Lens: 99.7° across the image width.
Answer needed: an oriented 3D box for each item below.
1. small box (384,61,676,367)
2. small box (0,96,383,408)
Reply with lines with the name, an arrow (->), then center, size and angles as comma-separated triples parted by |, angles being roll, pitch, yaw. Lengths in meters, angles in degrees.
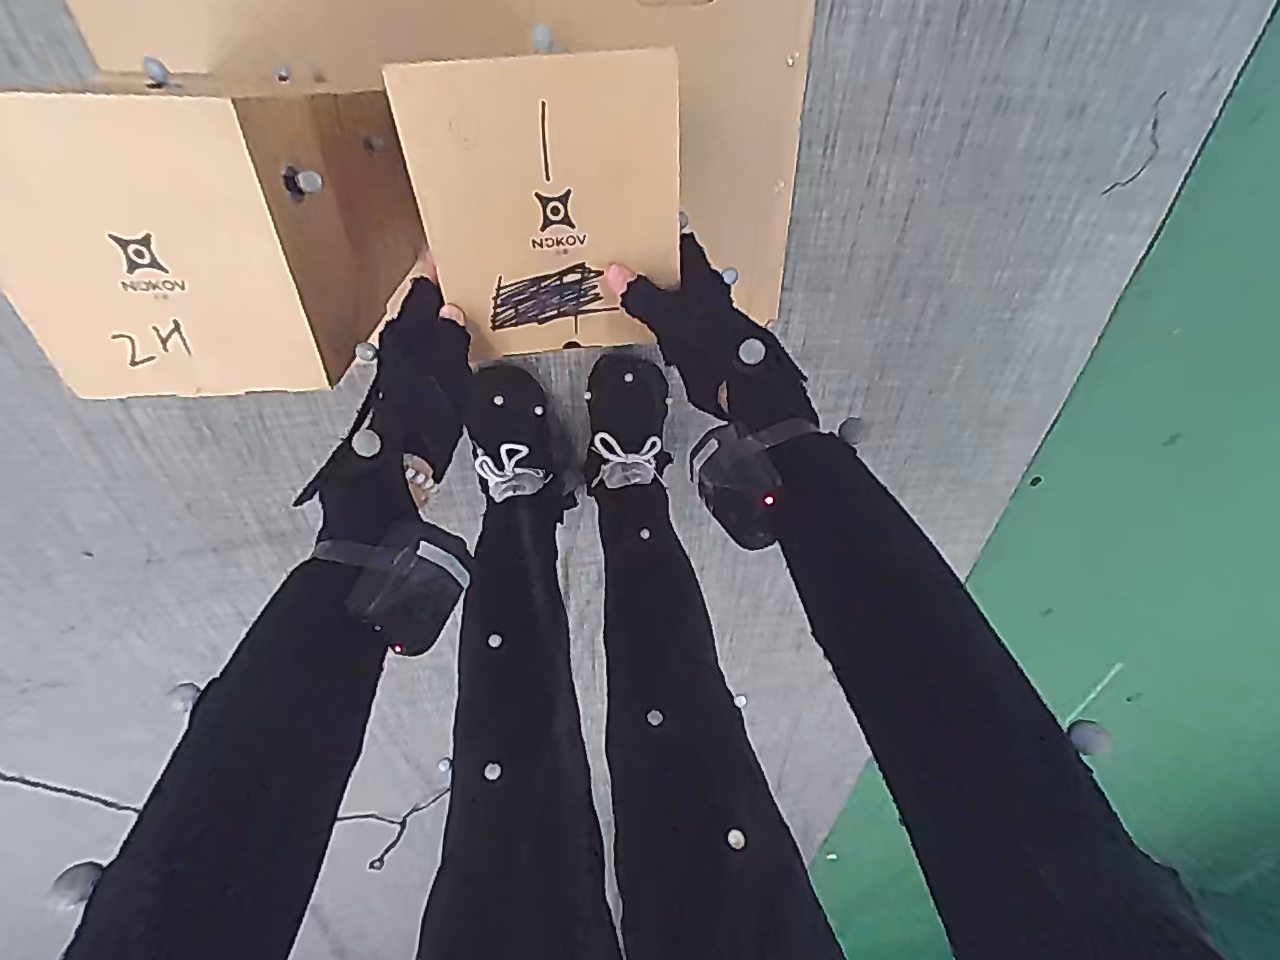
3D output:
small box -> -0.067, -0.209, 0.416 | 0.168, 0.176, 0.179 | -7, 127, -5
small box -> -0.309, -0.171, 0.394 | 0.168, 0.176, 0.179 | -4, 127, -7
